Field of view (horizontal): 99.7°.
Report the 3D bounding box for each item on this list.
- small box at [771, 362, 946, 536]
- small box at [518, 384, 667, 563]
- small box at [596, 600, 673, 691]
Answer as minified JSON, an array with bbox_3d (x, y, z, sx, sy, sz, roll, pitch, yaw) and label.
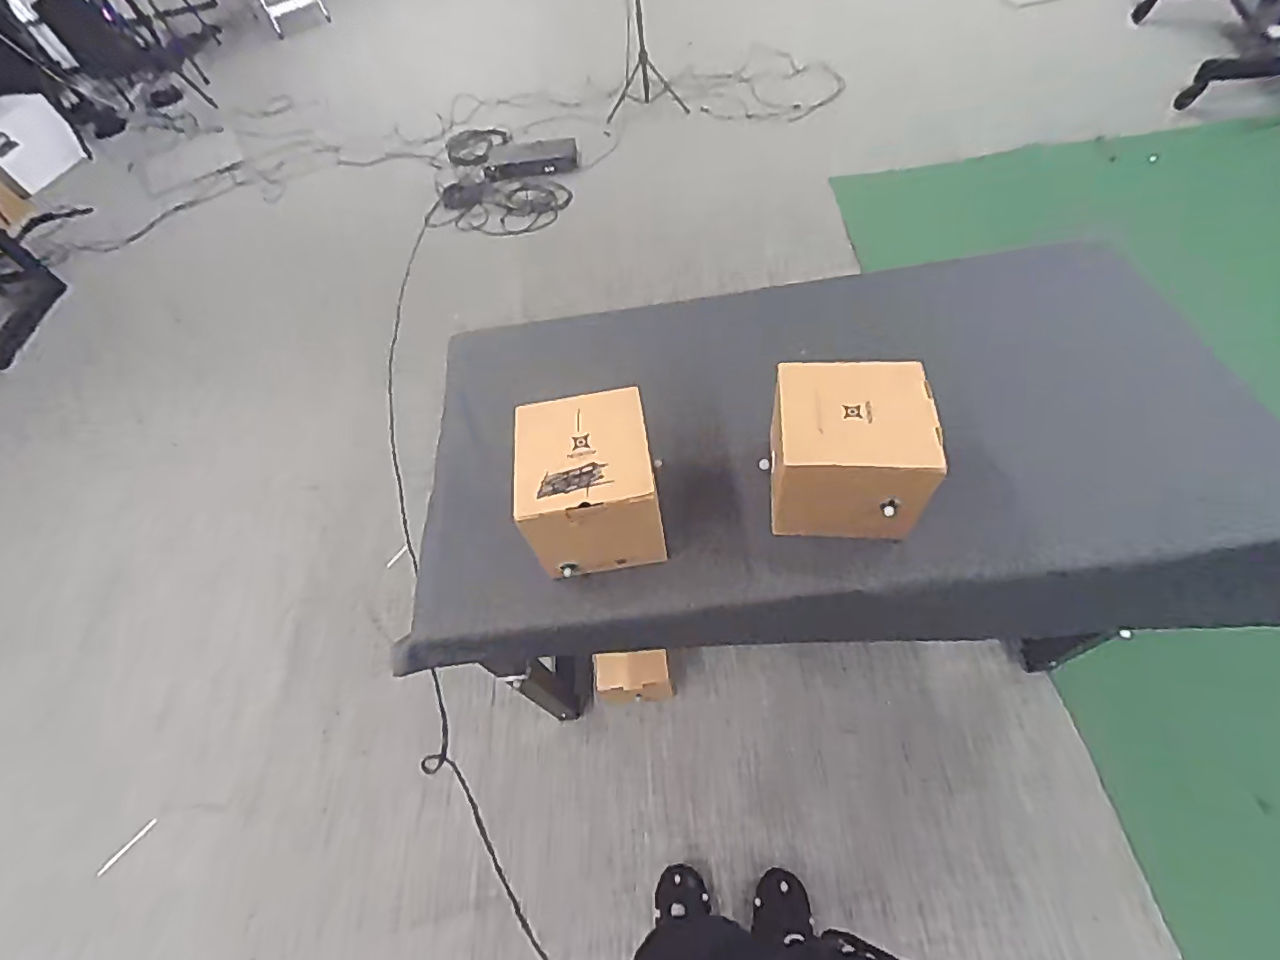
[{"bbox_3d":[0.269,-0.036,0.713,0.179,0.176,0.168,1,57,10],"label":"small box"},{"bbox_3d":[-0.059,0.000,0.730,0.168,0.176,0.179,-8,55,2],"label":"small box"},{"bbox_3d":[-0.012,0.414,1.333,0.168,0.176,0.179,-7,58,3],"label":"small box"}]
